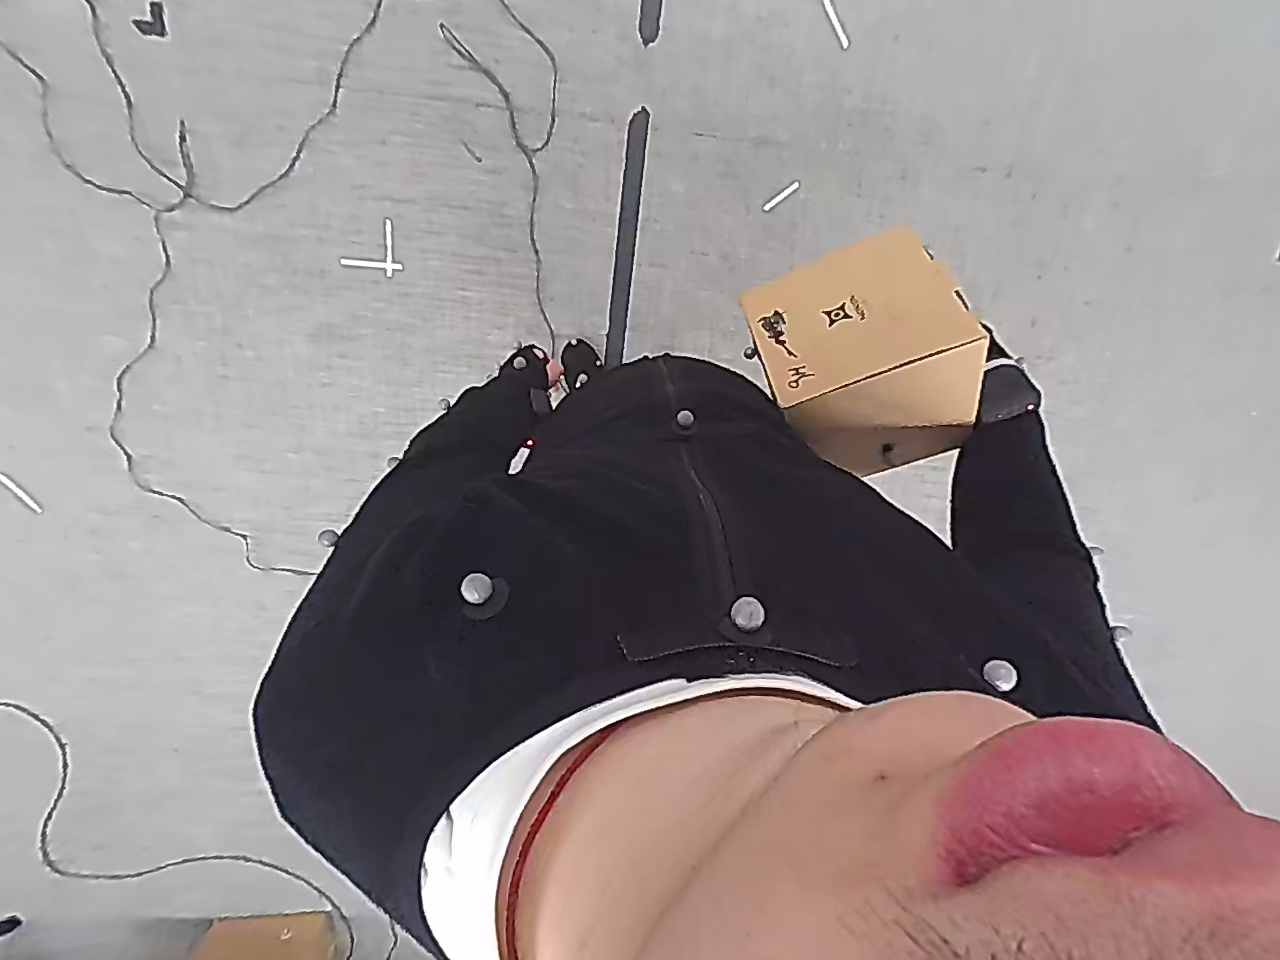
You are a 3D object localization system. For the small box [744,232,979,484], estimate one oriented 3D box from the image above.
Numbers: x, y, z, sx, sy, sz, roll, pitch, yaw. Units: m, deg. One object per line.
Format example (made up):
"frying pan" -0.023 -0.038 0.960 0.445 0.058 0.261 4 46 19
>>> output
"small box" 0.231 -0.121 0.588 0.179 0.168 0.176 -19 144 15
